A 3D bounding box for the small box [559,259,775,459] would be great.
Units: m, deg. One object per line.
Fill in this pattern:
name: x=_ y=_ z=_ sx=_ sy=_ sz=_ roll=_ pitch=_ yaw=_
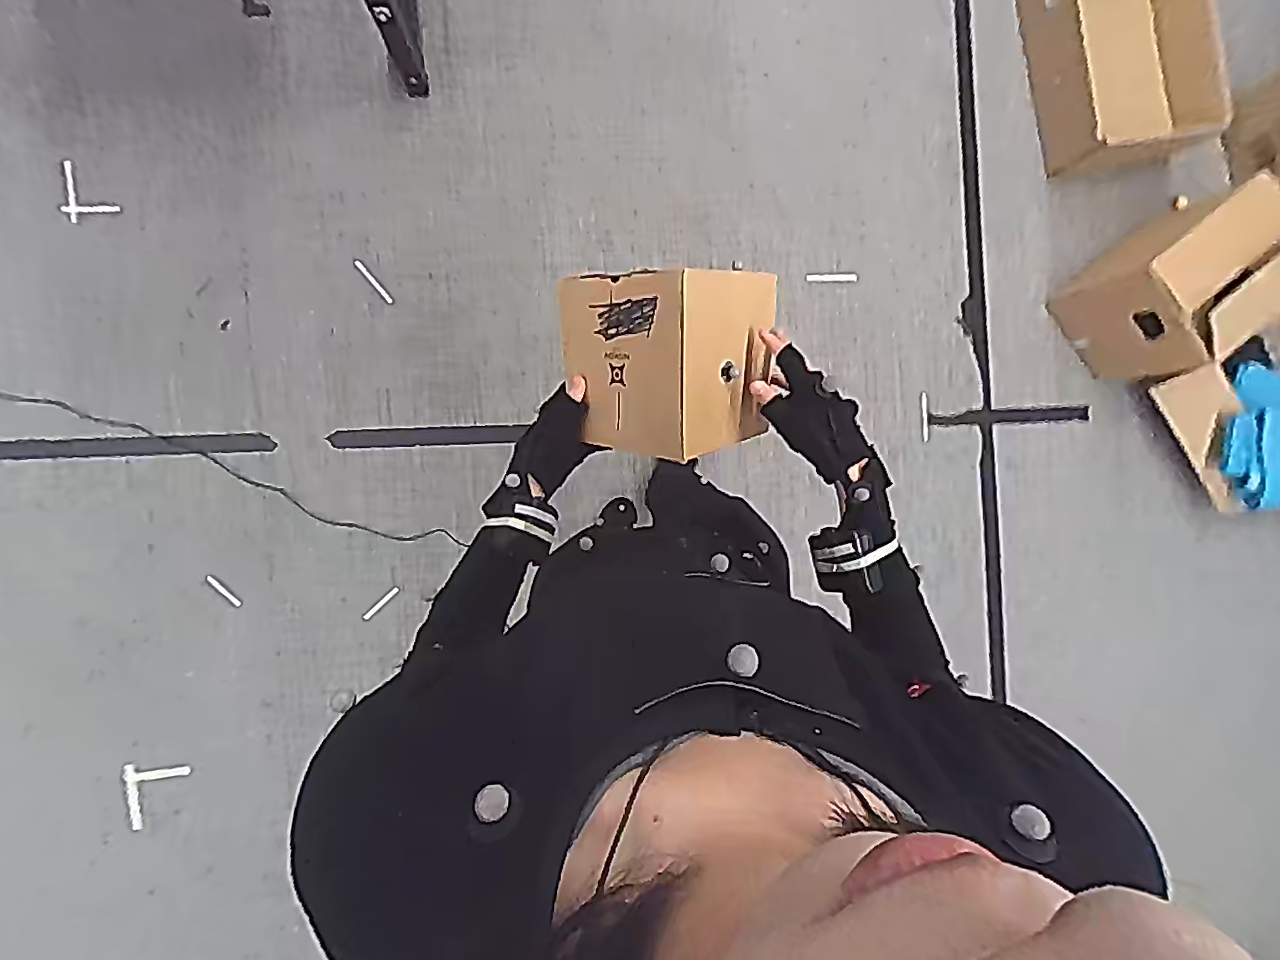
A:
small box: x=0.033 y=-0.136 z=0.586 sx=0.176 sy=0.168 sz=0.179 roll=-21 pitch=115 yaw=-45
